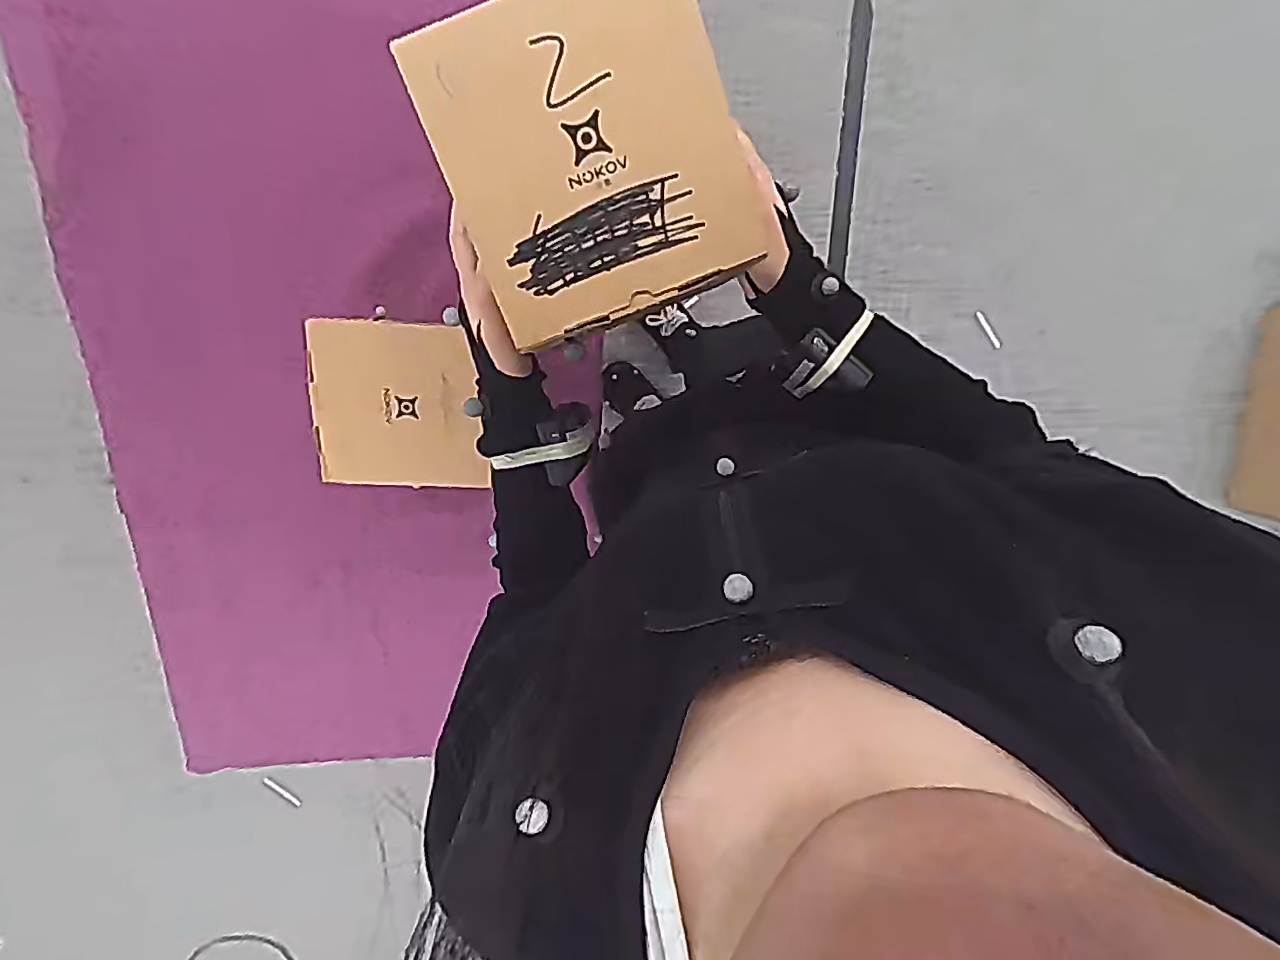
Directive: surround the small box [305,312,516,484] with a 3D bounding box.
[{"bbox_3d":[-0.242,-0.099,0.615,0.179,0.176,0.168,1,106,-5],"label":"small box"}]
